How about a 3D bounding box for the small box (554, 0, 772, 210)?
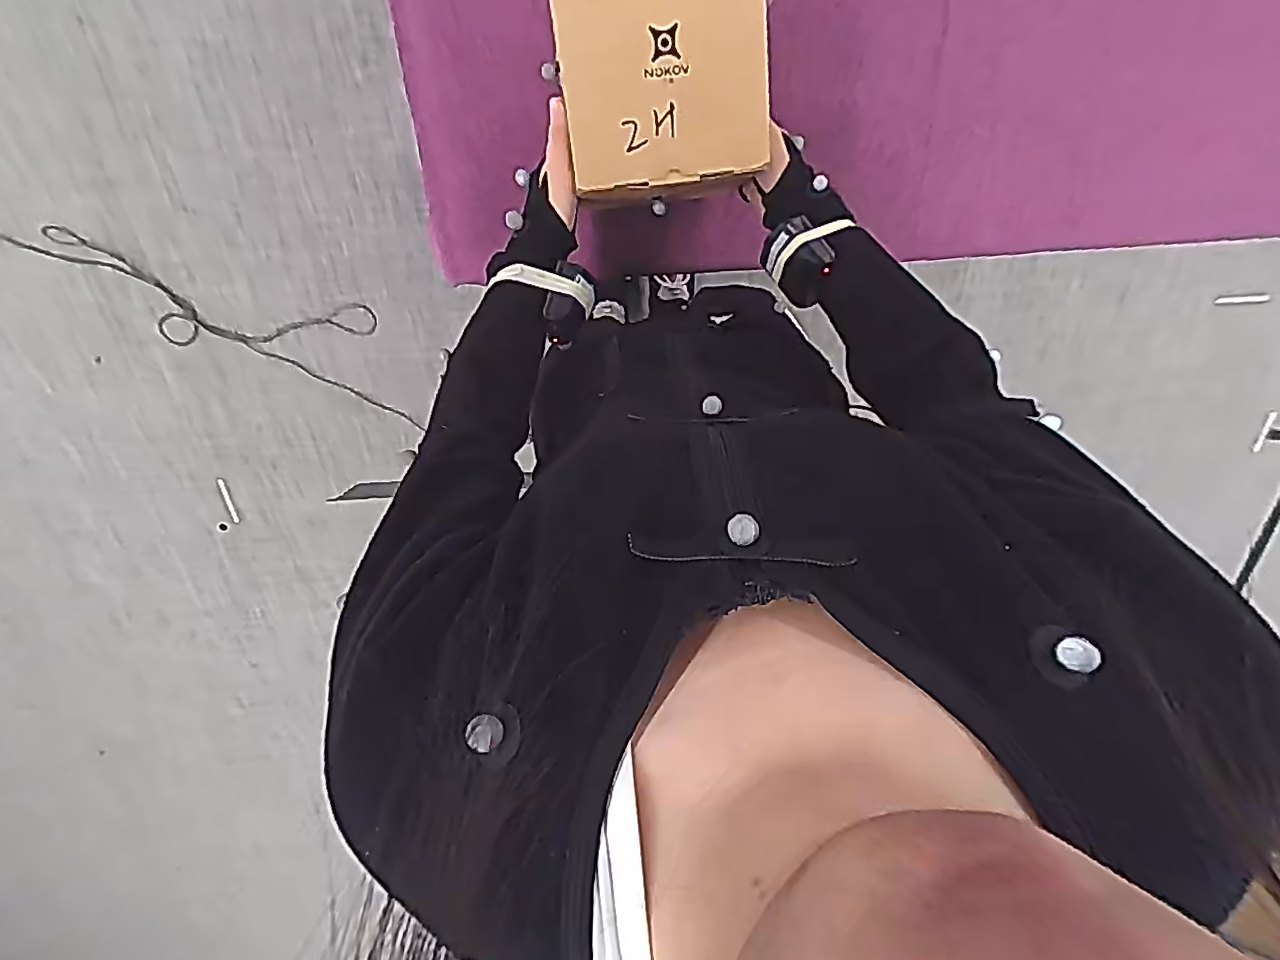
[{"bbox_3d":[0.014,-0.361,0.493,0.168,0.176,0.179,-7,111,-1],"label":"small box"}]
